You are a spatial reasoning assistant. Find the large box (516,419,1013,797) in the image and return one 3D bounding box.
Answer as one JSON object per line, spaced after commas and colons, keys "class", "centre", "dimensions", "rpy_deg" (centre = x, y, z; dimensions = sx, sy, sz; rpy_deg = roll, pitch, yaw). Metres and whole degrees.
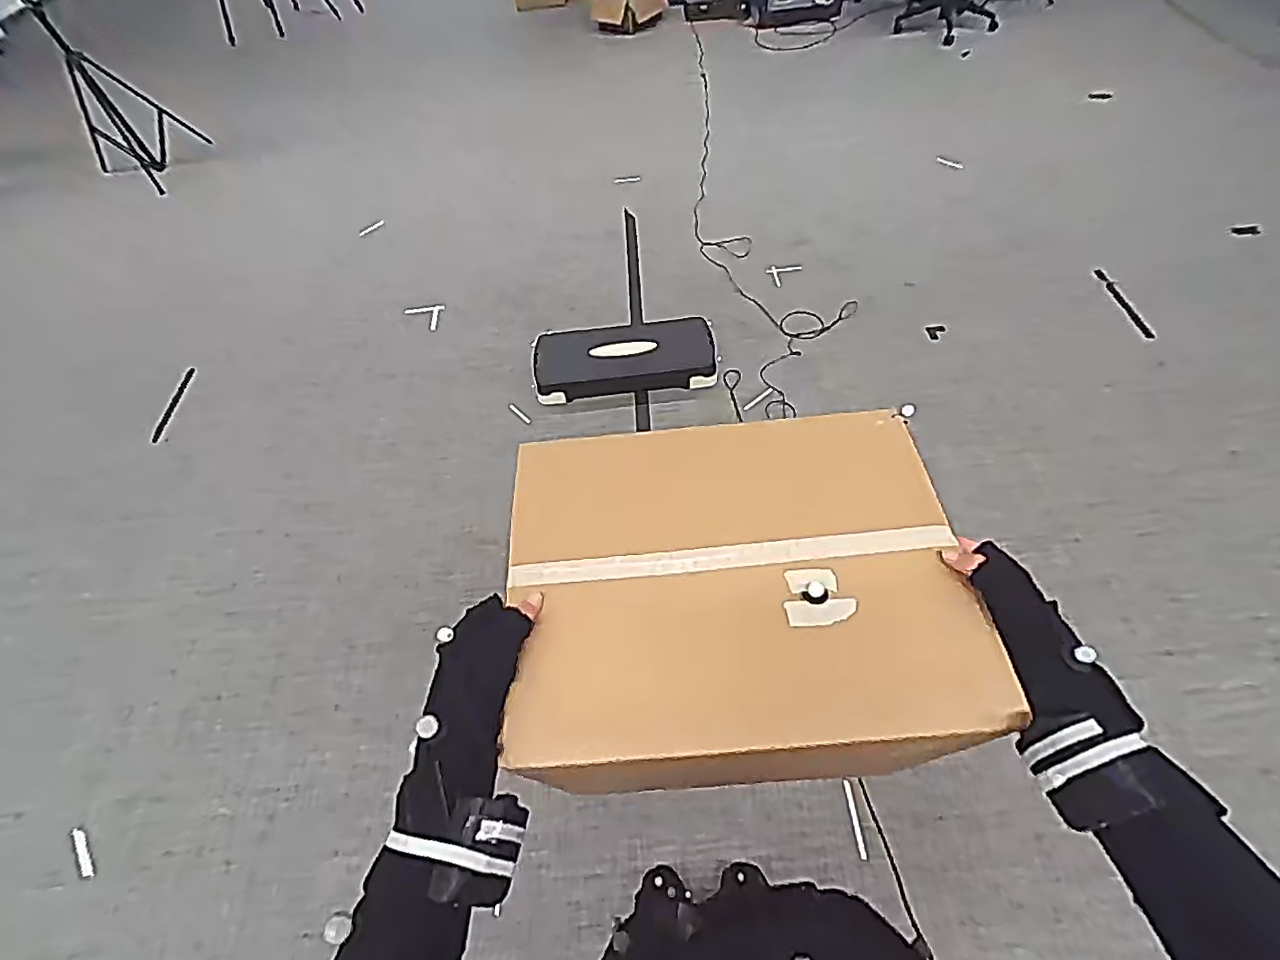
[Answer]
{"class": "large box", "centre": [0.095, 0.162, 0.630], "dimensions": [0.408, 0.320, 0.320], "rpy_deg": [-5, 56, 1]}
